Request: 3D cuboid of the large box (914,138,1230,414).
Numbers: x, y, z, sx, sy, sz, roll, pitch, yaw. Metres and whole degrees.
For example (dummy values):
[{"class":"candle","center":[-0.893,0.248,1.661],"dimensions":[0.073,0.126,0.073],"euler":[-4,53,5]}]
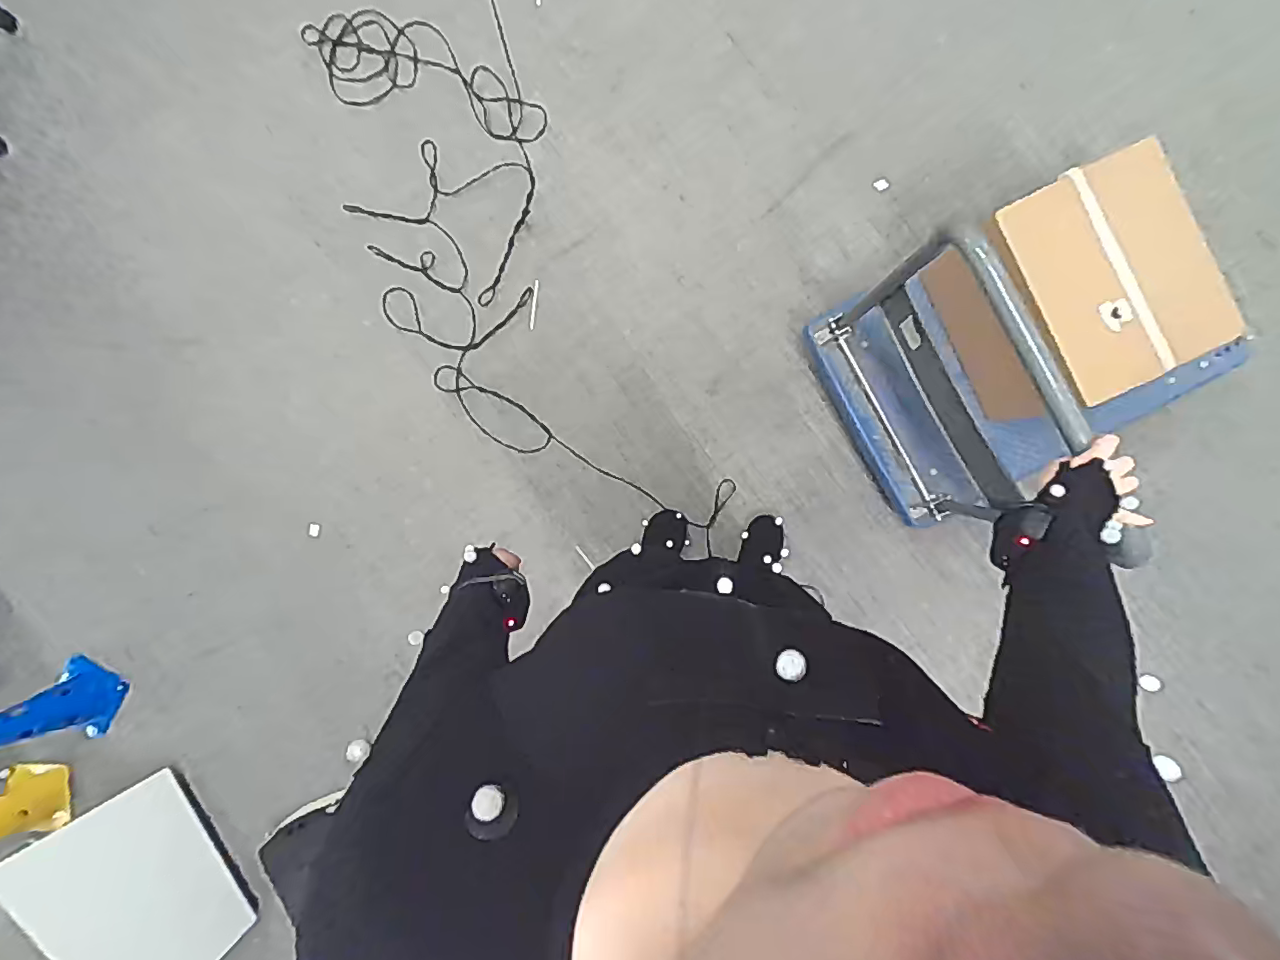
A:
[{"class":"large box","center":[0.874,-0.397,1.154],"dimensions":[0.320,0.320,0.408],"euler":[-26,90,3]}]
